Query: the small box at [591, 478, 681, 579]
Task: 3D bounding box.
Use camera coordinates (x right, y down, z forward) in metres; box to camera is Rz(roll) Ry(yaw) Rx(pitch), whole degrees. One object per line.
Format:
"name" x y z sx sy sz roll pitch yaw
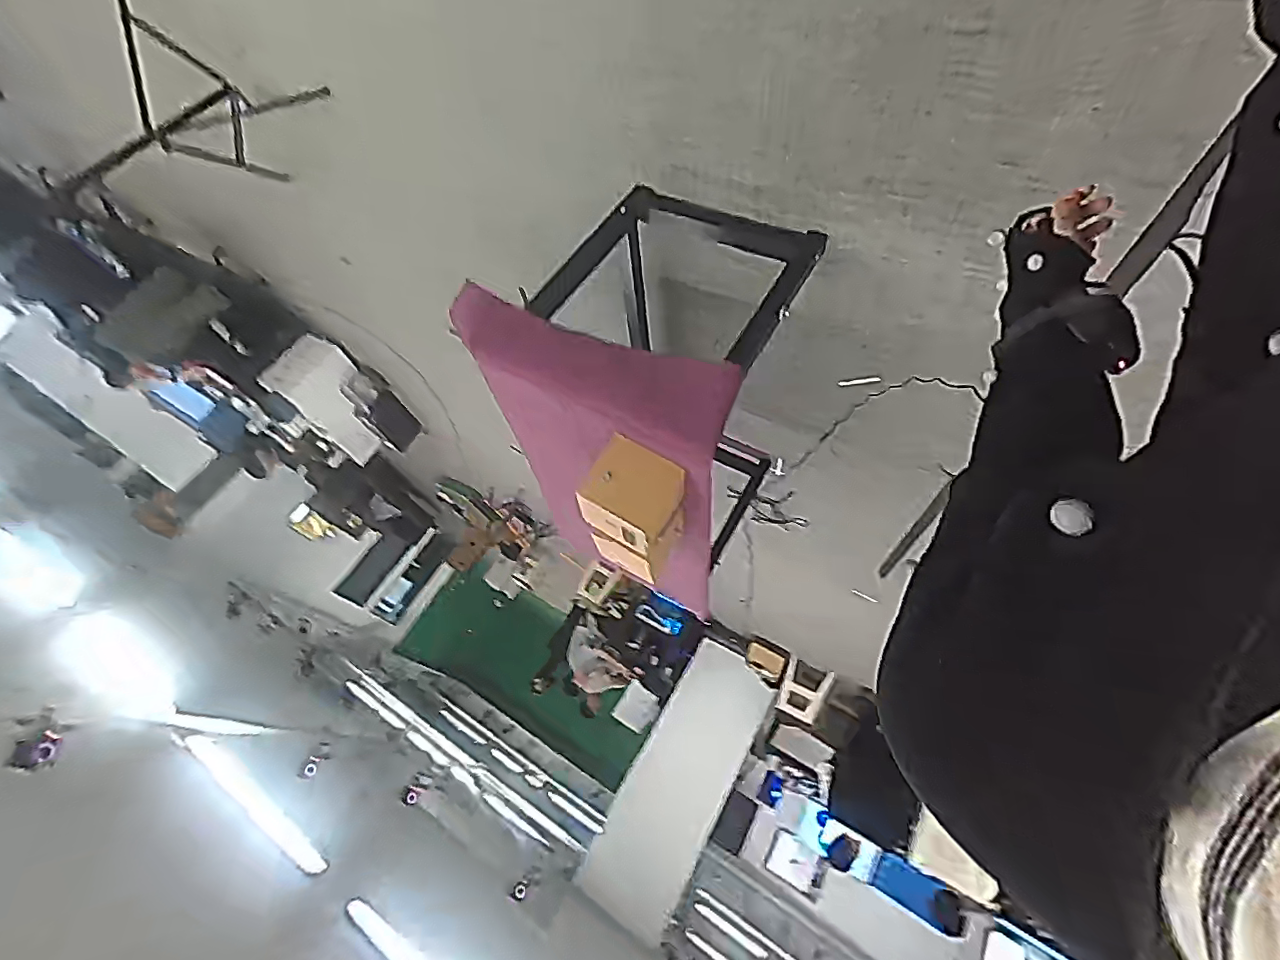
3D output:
"small box" -0.002 0.121 1.391 0.168 0.176 0.179 25 156 19
